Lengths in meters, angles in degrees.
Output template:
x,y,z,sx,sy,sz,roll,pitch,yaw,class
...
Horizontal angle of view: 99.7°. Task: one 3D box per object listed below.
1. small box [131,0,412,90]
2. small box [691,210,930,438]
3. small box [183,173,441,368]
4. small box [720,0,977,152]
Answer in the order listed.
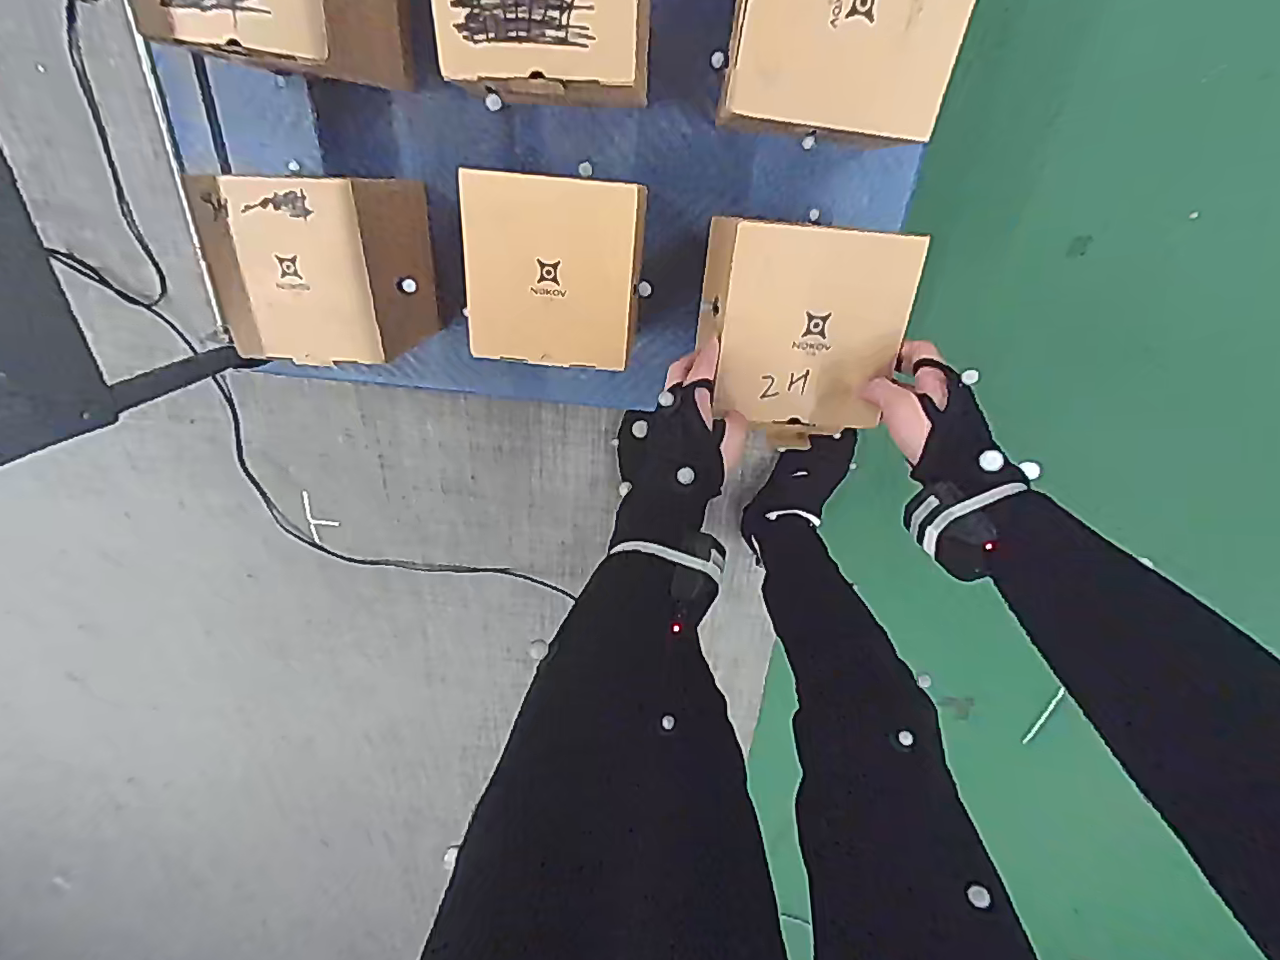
x,y,z,sx,sy,sz,roll,pitch,yaw,class
-0.319,-0.470,0.480,0.168,0.176,0.179,8,118,-1,small box
0.151,-0.167,0.556,0.168,0.176,0.179,11,117,-3,small box
-0.340,-0.240,0.606,0.168,0.176,0.179,4,119,2,small box
0.174,-0.401,0.484,0.179,0.176,0.168,9,120,0,small box
